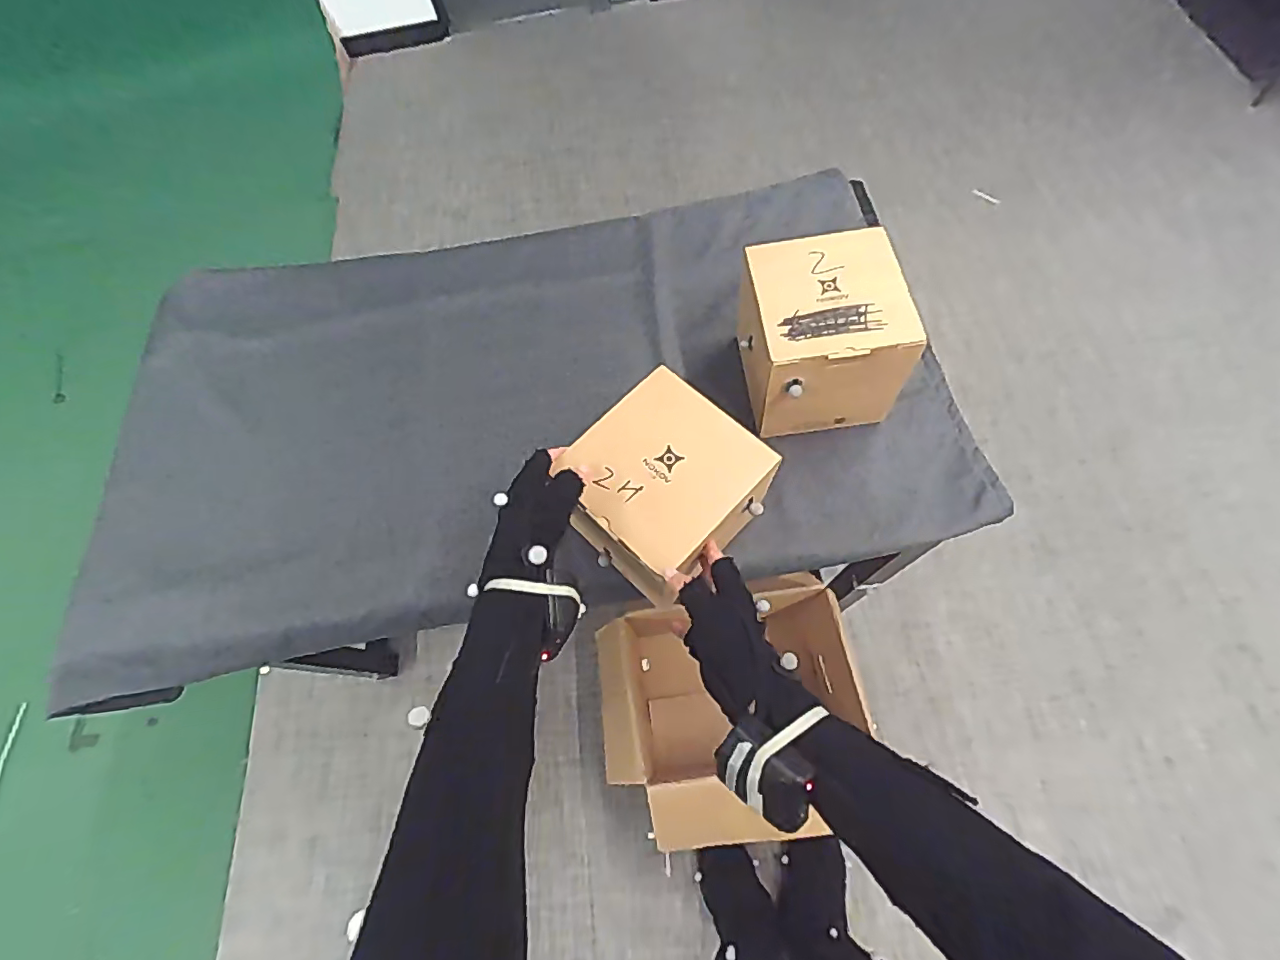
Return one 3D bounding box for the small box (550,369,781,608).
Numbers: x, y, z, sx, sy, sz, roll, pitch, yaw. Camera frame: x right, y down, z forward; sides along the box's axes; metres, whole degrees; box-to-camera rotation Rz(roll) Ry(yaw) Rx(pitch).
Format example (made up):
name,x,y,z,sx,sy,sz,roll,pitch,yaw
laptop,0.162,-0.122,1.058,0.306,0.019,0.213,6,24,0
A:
name,x,y,z,sx,sy,sz,roll,pitch,yaw
small box,0.027,0.018,0.610,0.168,0.176,0.179,41,74,18
